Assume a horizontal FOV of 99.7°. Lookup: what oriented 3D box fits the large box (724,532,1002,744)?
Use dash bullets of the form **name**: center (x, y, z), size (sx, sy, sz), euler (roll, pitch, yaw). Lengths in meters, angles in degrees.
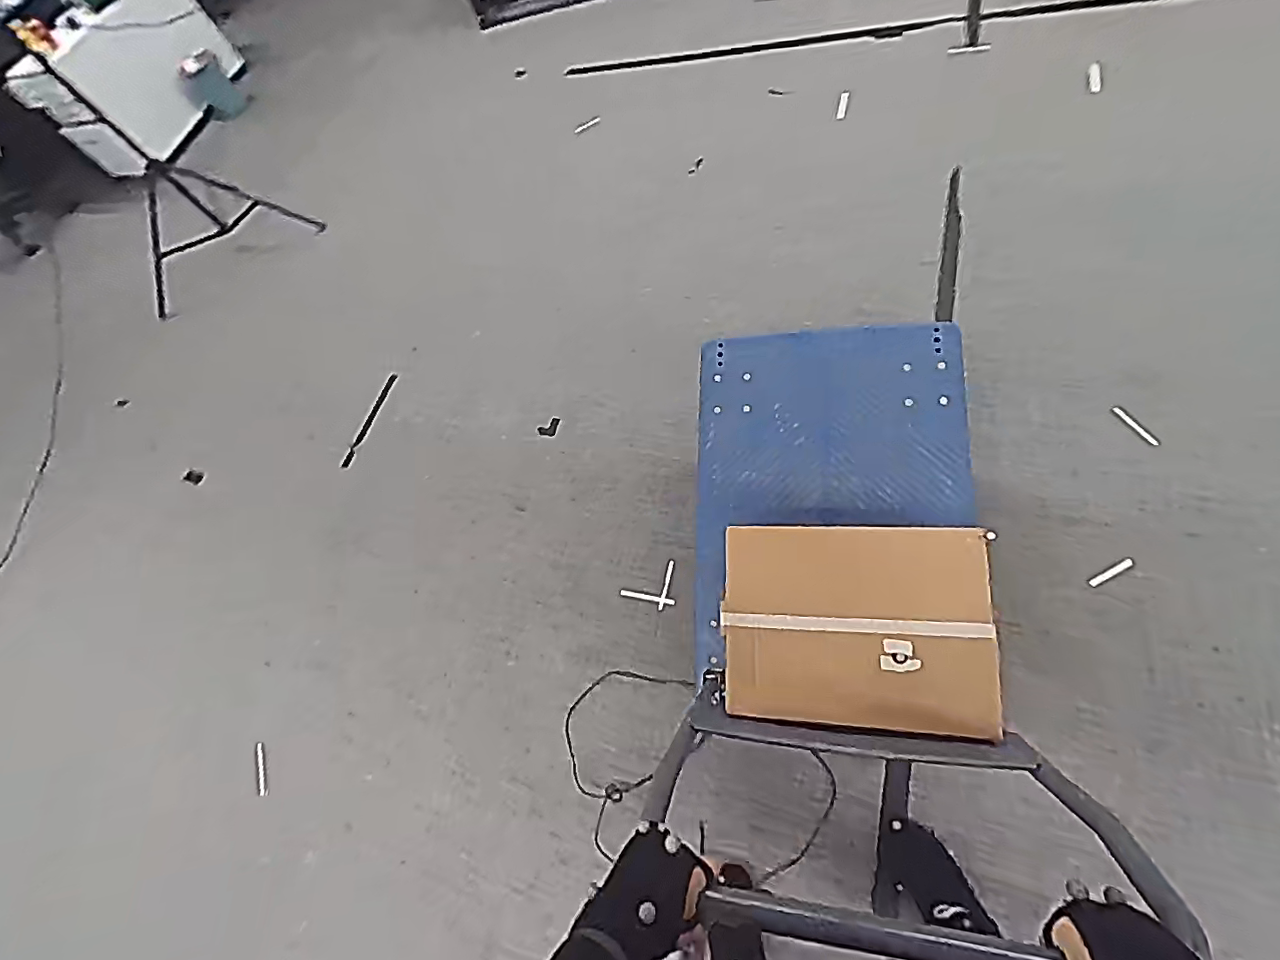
- **large box**: center (0.370, 0.267, 0.998), size (0.408, 0.320, 0.320), euler (-1, 80, 14)
